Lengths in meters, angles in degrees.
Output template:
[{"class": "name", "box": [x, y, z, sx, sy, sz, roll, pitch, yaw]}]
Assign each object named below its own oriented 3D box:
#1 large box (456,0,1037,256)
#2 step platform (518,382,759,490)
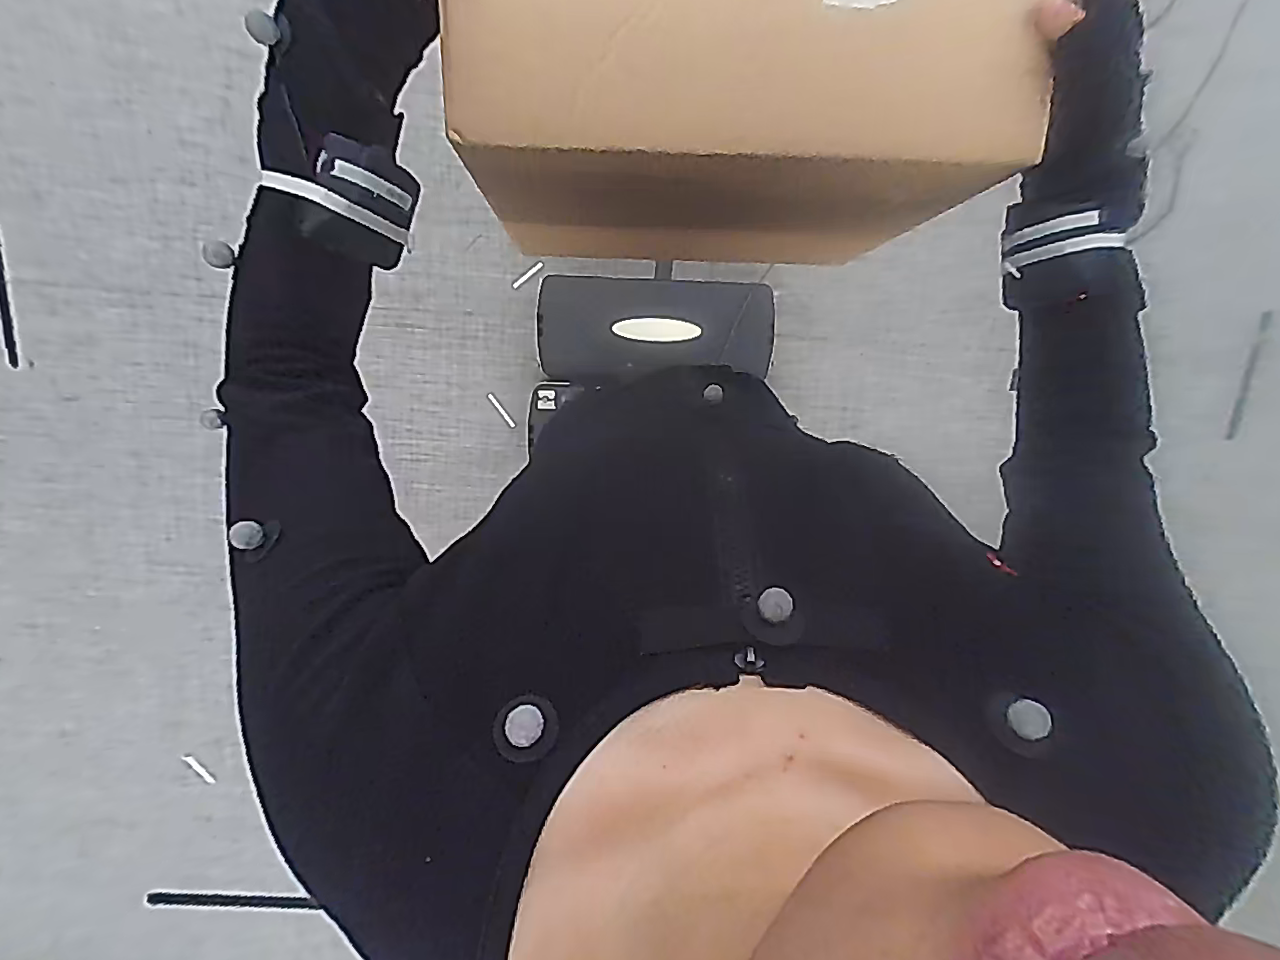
[{"class": "large box", "box": [0.064, -0.404, 0.498, 0.408, 0.320, 0.320, -1, 100, -4]}, {"class": "step platform", "box": [-0.004, -0.128, 1.561, 0.684, 0.204, 0.286, 2, 100, -1]}]
